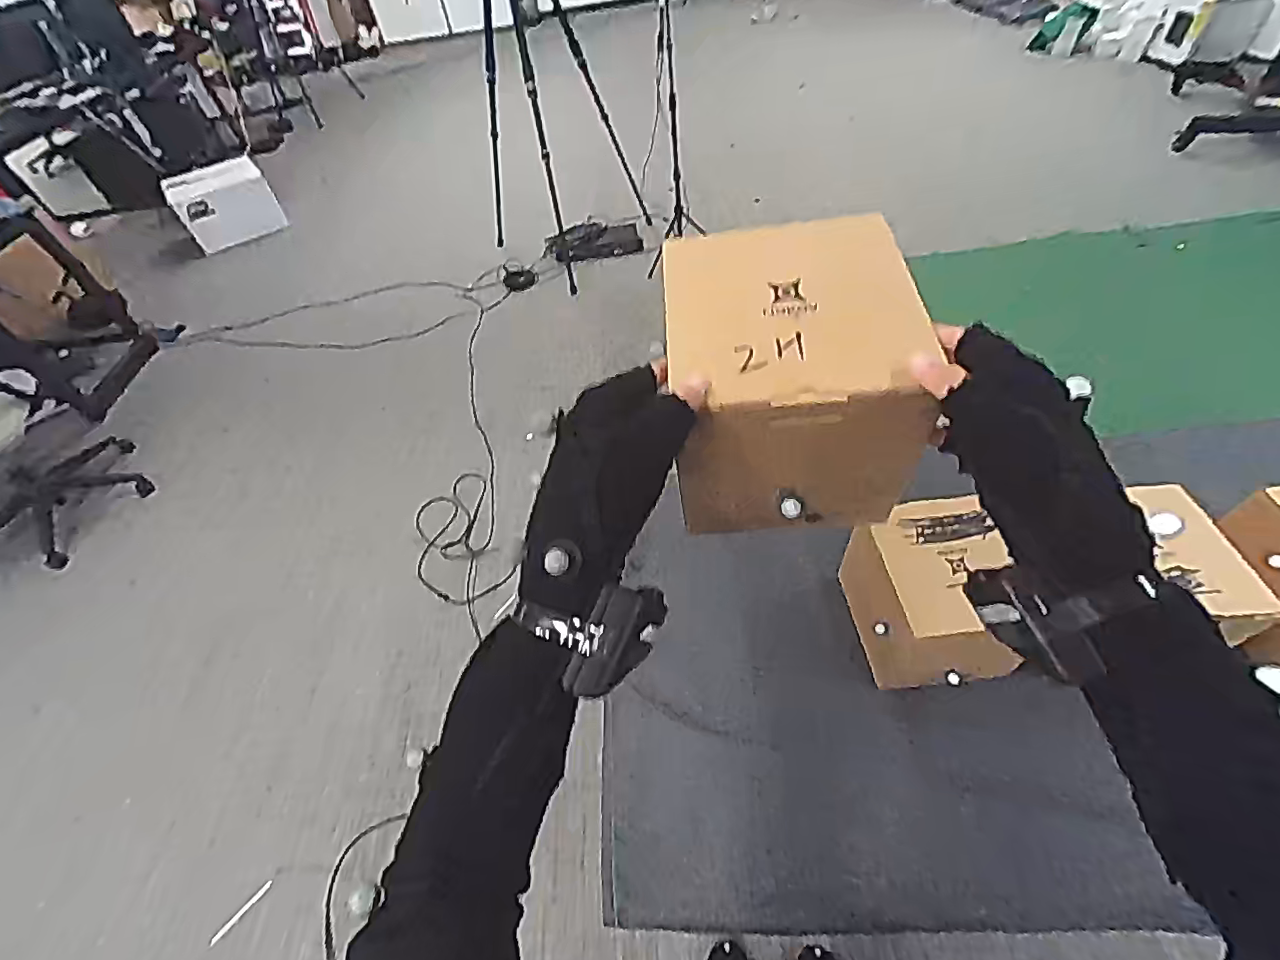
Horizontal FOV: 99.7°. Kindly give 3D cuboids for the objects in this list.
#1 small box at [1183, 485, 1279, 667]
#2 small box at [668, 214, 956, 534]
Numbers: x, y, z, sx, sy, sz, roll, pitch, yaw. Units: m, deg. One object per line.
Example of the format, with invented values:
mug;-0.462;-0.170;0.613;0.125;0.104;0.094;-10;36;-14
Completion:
small box;0.828;0.118;0.638;0.168;0.176;0.179;-5;49;4
small box;0.110;-0.075;0.426;0.168;0.176;0.179;-4;57;7
